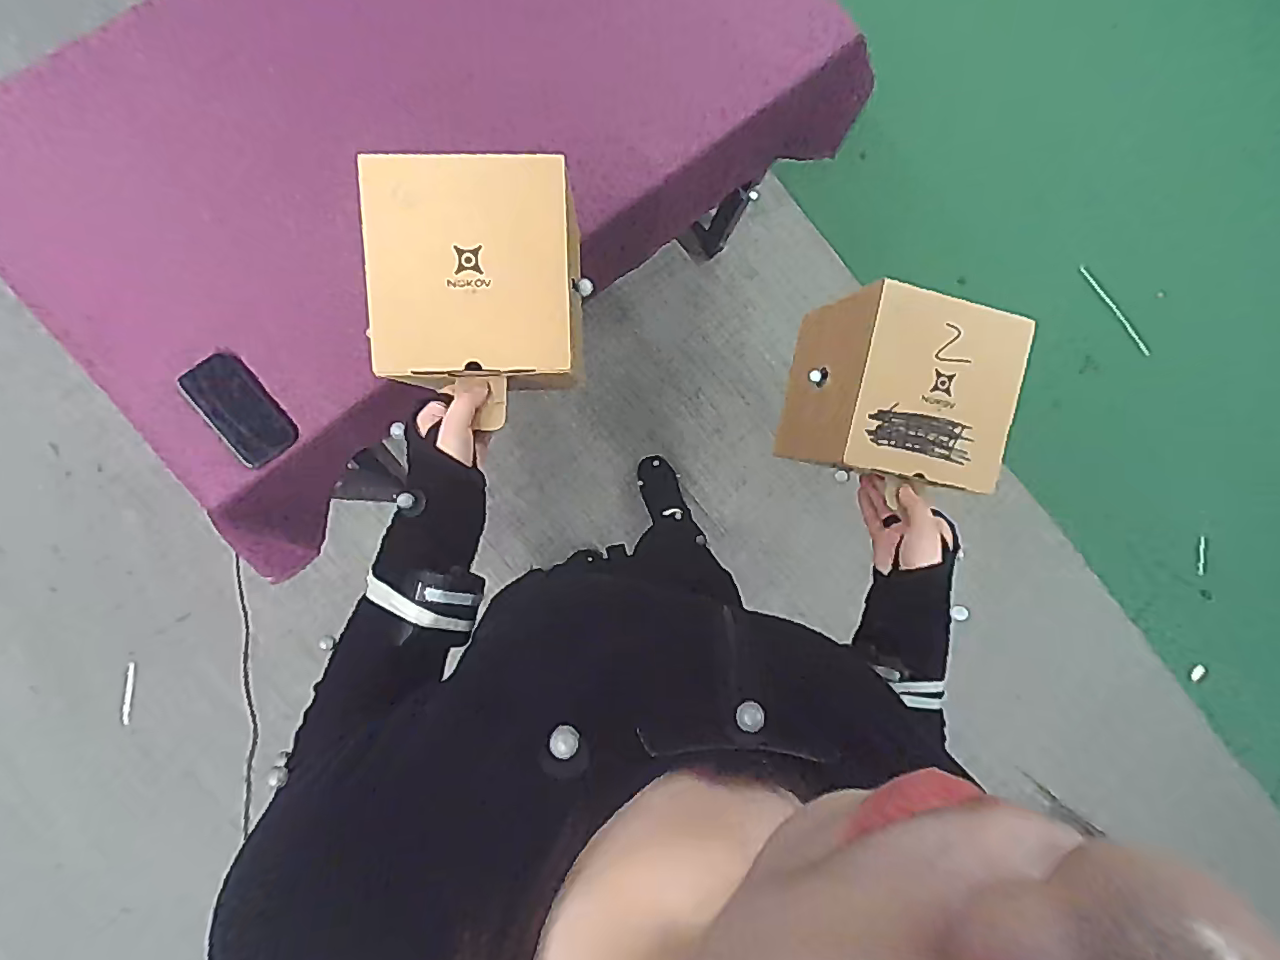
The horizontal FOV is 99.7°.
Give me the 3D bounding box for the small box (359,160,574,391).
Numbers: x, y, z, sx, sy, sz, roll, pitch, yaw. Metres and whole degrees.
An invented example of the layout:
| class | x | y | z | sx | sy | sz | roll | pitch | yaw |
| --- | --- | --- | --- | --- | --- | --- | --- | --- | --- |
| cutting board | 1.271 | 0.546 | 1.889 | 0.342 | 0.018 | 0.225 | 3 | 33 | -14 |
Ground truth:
| class | x | y | z | sx | sy | sz | roll | pitch | yaw |
| --- | --- | --- | --- | --- | --- | --- | --- | --- | --- |
| small box | -0.152 | -0.182 | 0.530 | 0.168 | 0.176 | 0.179 | -2 | 97 | -4 |
